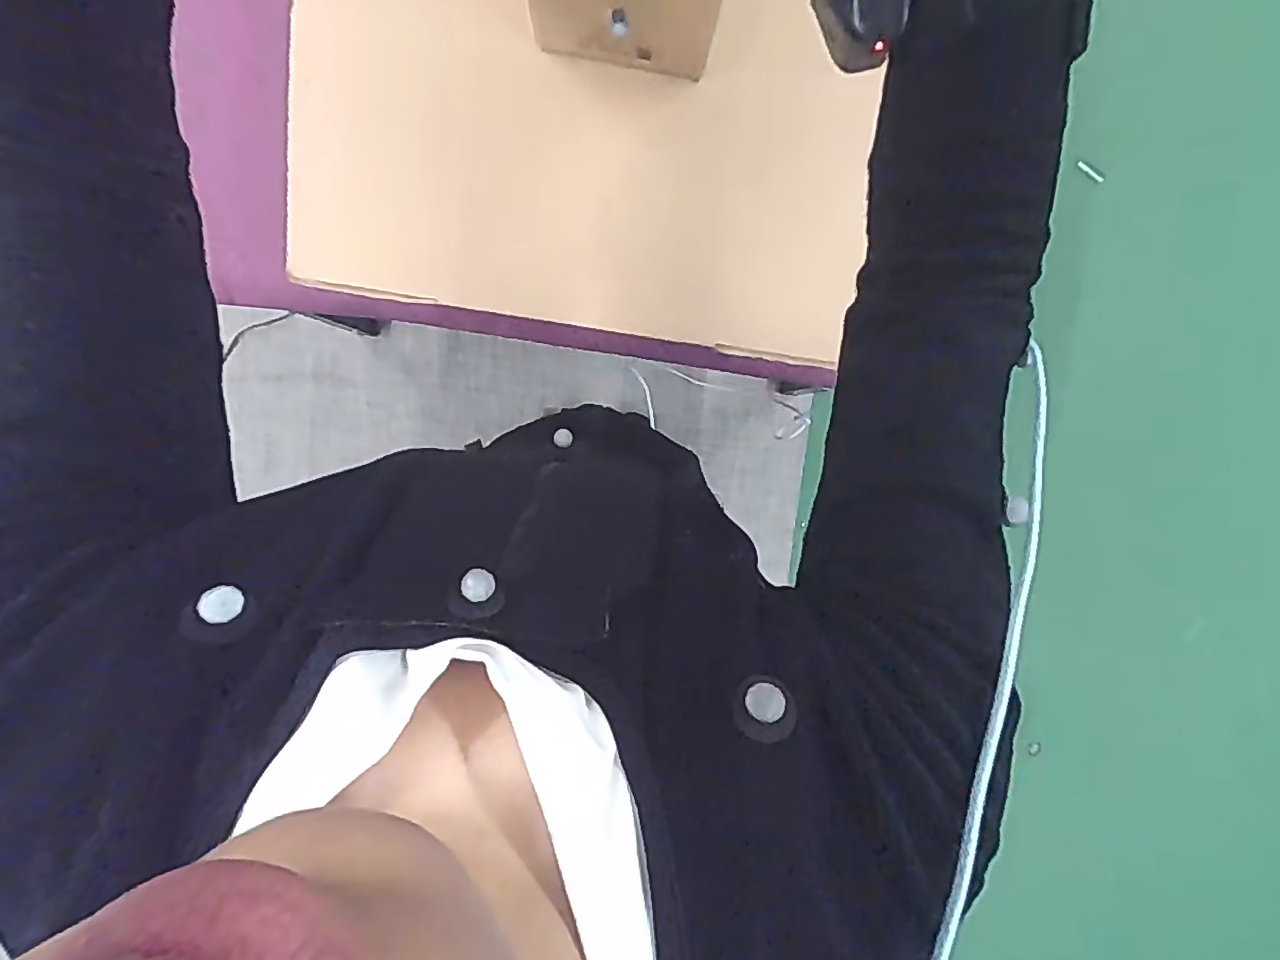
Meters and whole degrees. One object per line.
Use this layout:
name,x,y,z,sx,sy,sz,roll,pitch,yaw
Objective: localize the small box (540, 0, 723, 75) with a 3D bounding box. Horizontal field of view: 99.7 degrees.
small box,0.001,-0.490,0.445,0.168,0.176,0.179,8,94,-4
